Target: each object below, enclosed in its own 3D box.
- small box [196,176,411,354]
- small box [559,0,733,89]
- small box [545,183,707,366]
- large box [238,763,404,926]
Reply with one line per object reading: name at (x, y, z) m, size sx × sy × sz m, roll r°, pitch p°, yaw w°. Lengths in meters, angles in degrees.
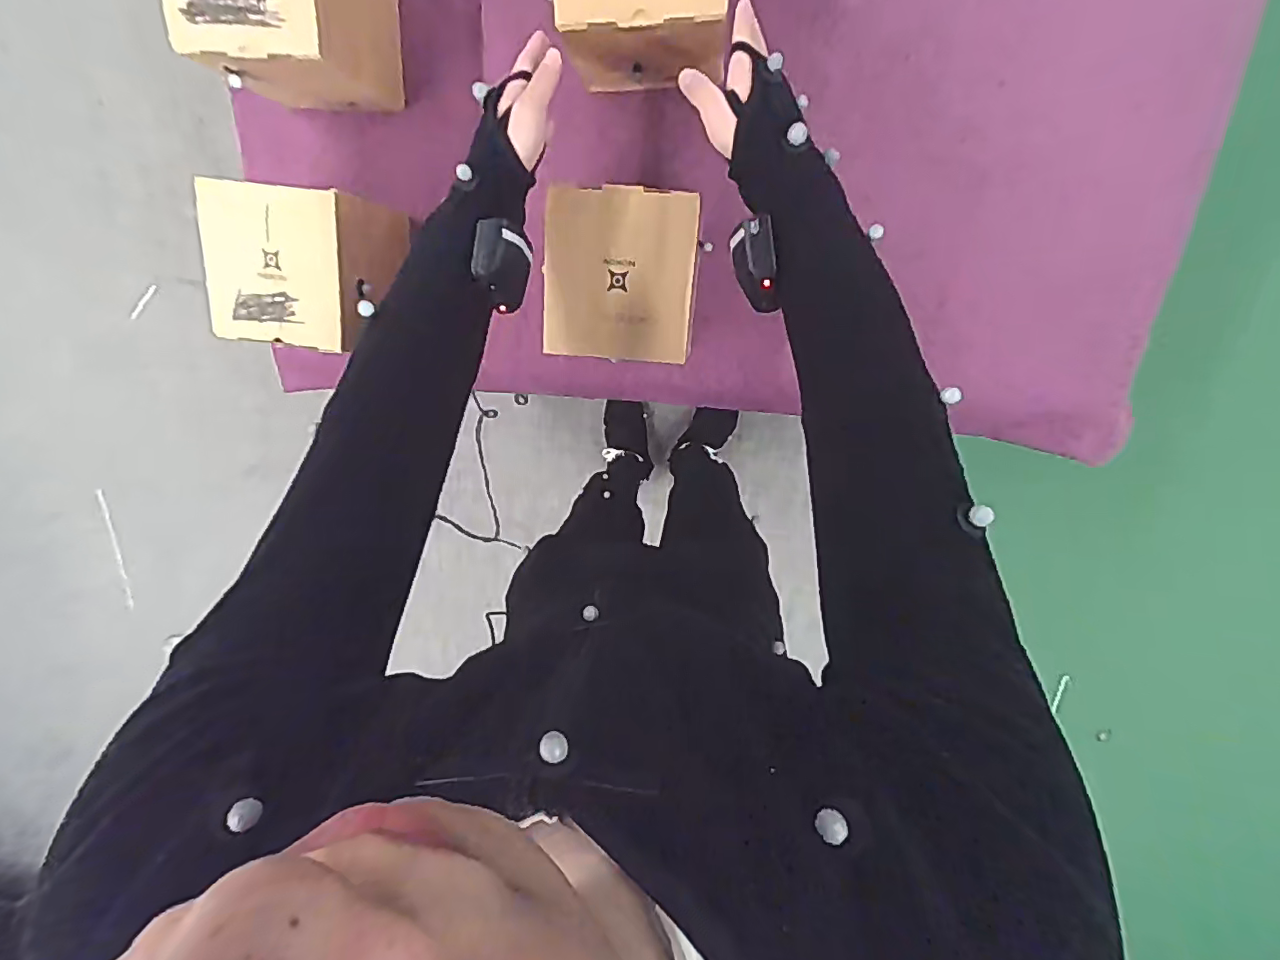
small box at (-0.411, -0.266, 0.693) m, size 0.168 × 0.176 × 0.179 m, roll 8°, pitch 108°, yaw 3°
small box at (0.010, -0.537, 0.558) m, size 0.168 × 0.176 × 0.179 m, roll 1°, pitch 110°, yaw 5°
small box at (-0.012, -0.243, 0.661) m, size 0.168 × 0.176 × 0.179 m, roll 7°, pitch 109°, yaw 5°
large box at (-1.196, 1.368, 2.052) m, size 0.408 × 0.320 × 0.320 m, roll 28°, pitch 110°, yaw -5°
